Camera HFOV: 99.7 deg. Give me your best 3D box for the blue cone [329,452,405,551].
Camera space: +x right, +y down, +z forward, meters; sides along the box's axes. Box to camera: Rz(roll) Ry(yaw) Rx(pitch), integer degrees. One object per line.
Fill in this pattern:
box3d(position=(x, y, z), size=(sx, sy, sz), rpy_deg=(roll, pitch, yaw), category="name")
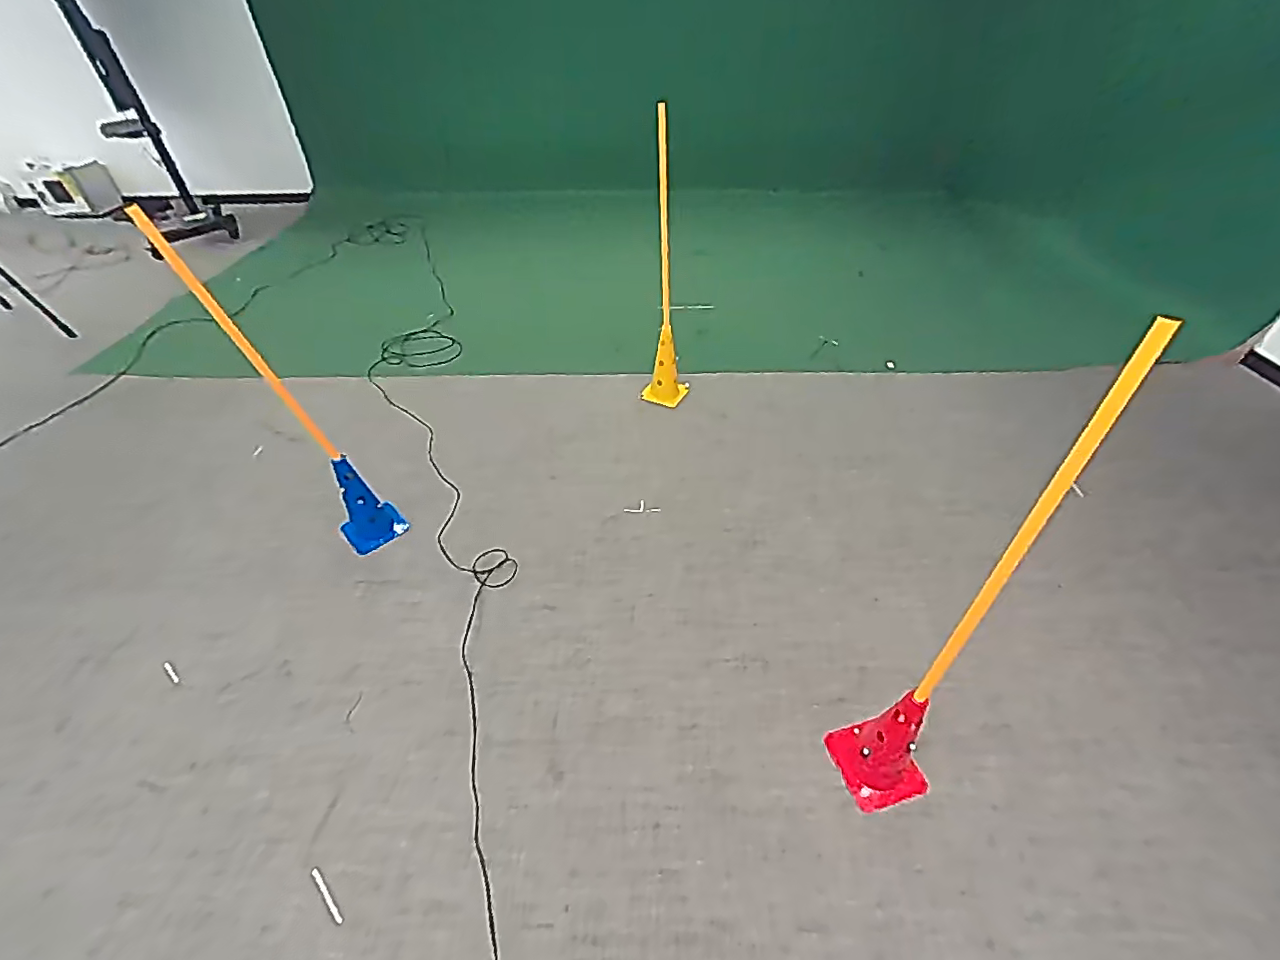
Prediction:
box3d(position=(-1.000, 0.057, 1.911), size=(0.192, 0.380, 0.193), rpy_deg=(34, 55, 31), category="blue cone")
